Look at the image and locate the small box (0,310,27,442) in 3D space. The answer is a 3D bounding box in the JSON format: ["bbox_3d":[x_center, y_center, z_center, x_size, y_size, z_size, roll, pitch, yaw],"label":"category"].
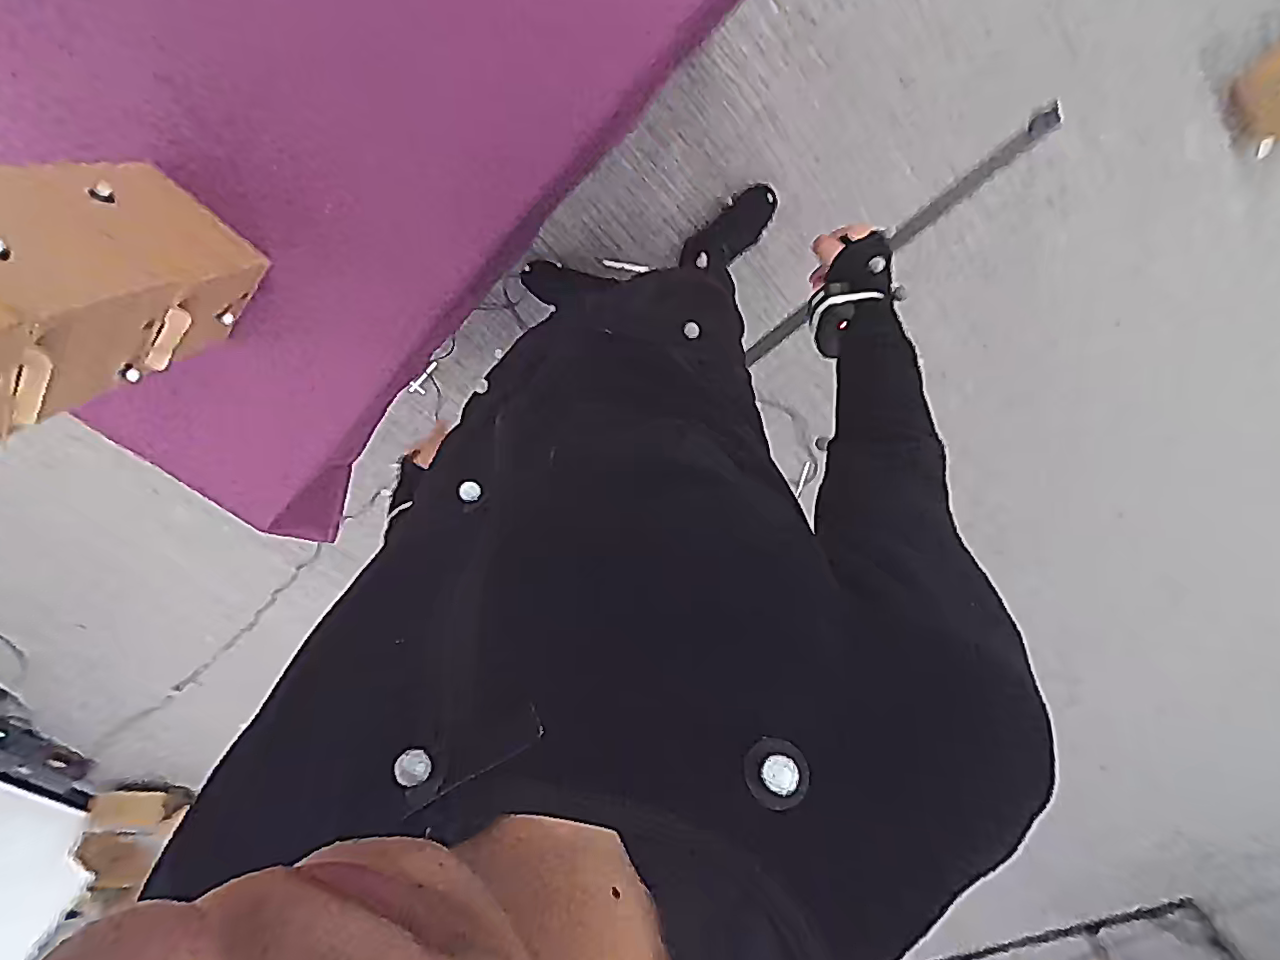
[{"bbox_3d":[-0.667,-0.091,0.424,0.179,0.176,0.168,34,117,-17],"label":"small box"}]

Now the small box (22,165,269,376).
[{"bbox_3d":[-0.639,-0.271,0.697,0.168,0.176,0.179,-39,113,24],"label":"small box"}]

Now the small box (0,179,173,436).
[{"bbox_3d":[-0.647,-0.184,0.558,0.179,0.176,0.168,38,116,-18],"label":"small box"}]
